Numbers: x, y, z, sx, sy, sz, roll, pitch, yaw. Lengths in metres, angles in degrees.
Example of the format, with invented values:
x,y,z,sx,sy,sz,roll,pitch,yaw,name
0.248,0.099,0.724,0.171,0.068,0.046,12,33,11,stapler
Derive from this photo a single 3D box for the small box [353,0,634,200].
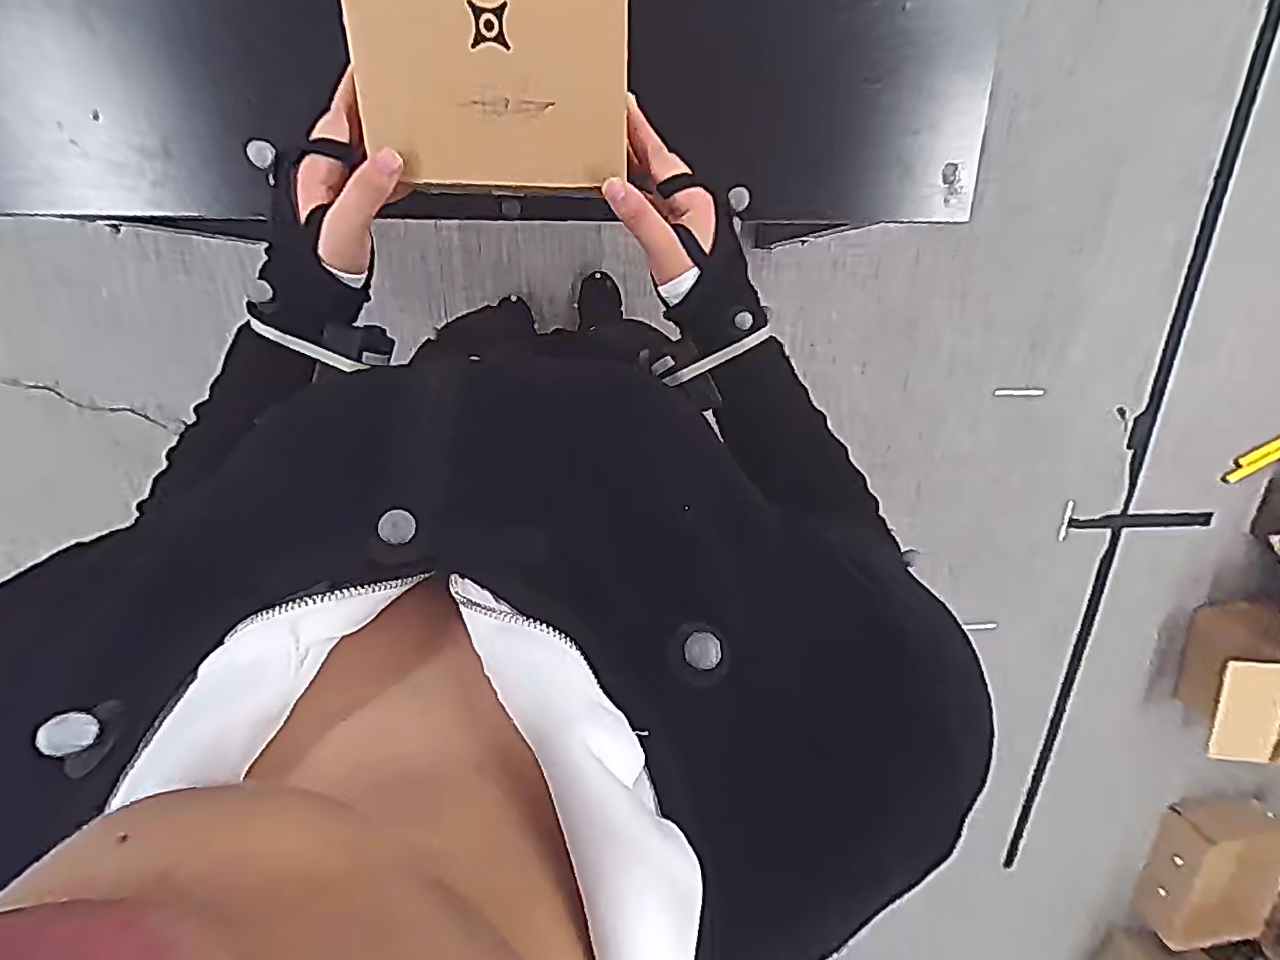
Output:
x,y,z,sx,sy,sz,roll,pitch,yaw,name
-0.091,-0.308,0.393,0.168,0.176,0.179,0,116,-4,small box
